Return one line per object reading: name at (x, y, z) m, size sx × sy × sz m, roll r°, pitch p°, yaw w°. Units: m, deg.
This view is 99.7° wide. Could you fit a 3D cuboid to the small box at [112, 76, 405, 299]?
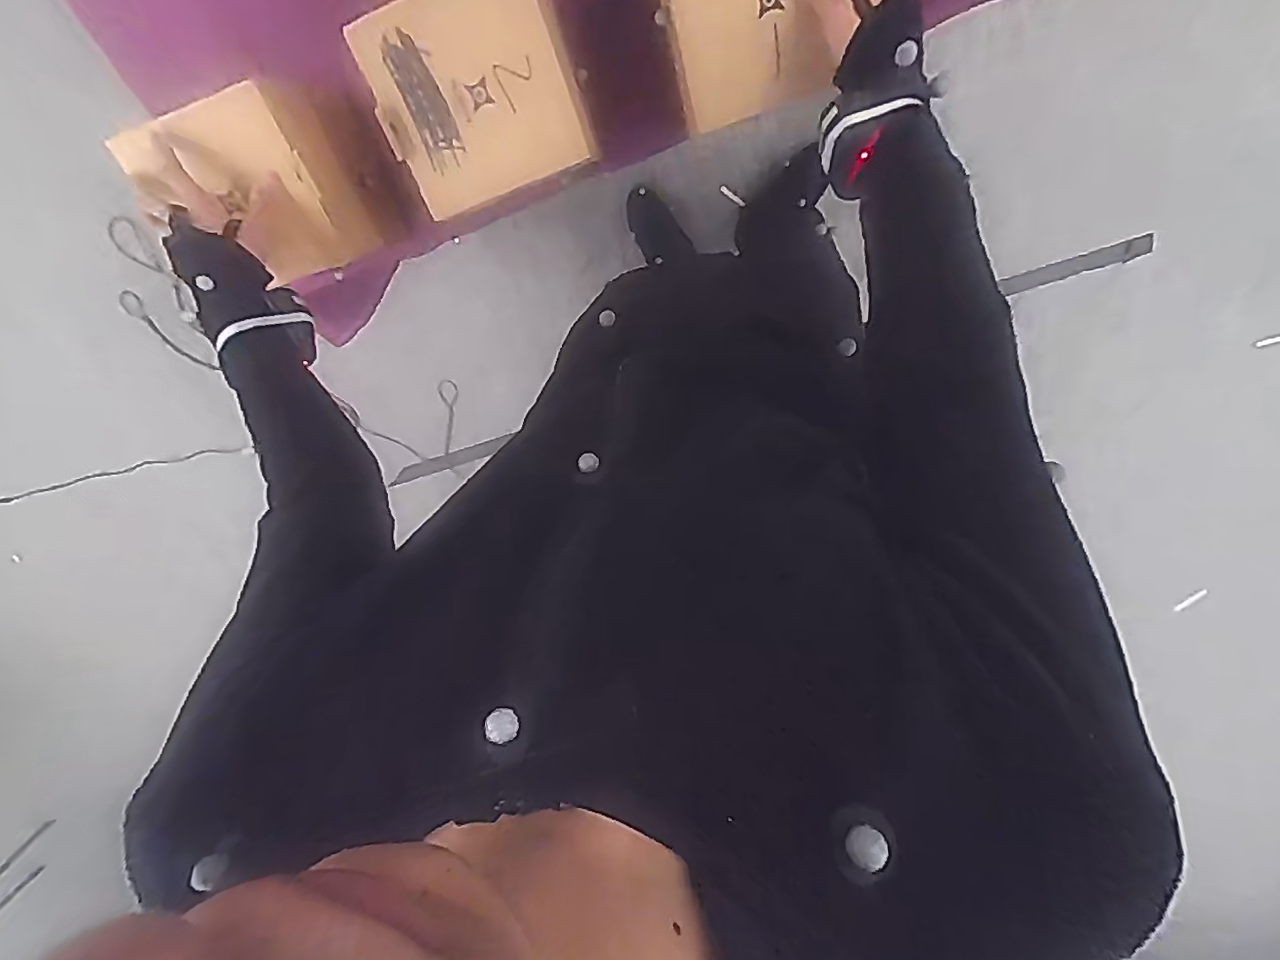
small box at (-0.409, -0.327, 0.618) m, size 0.179 × 0.176 × 0.168 m, roll -14°, pitch 120°, yaw 9°
